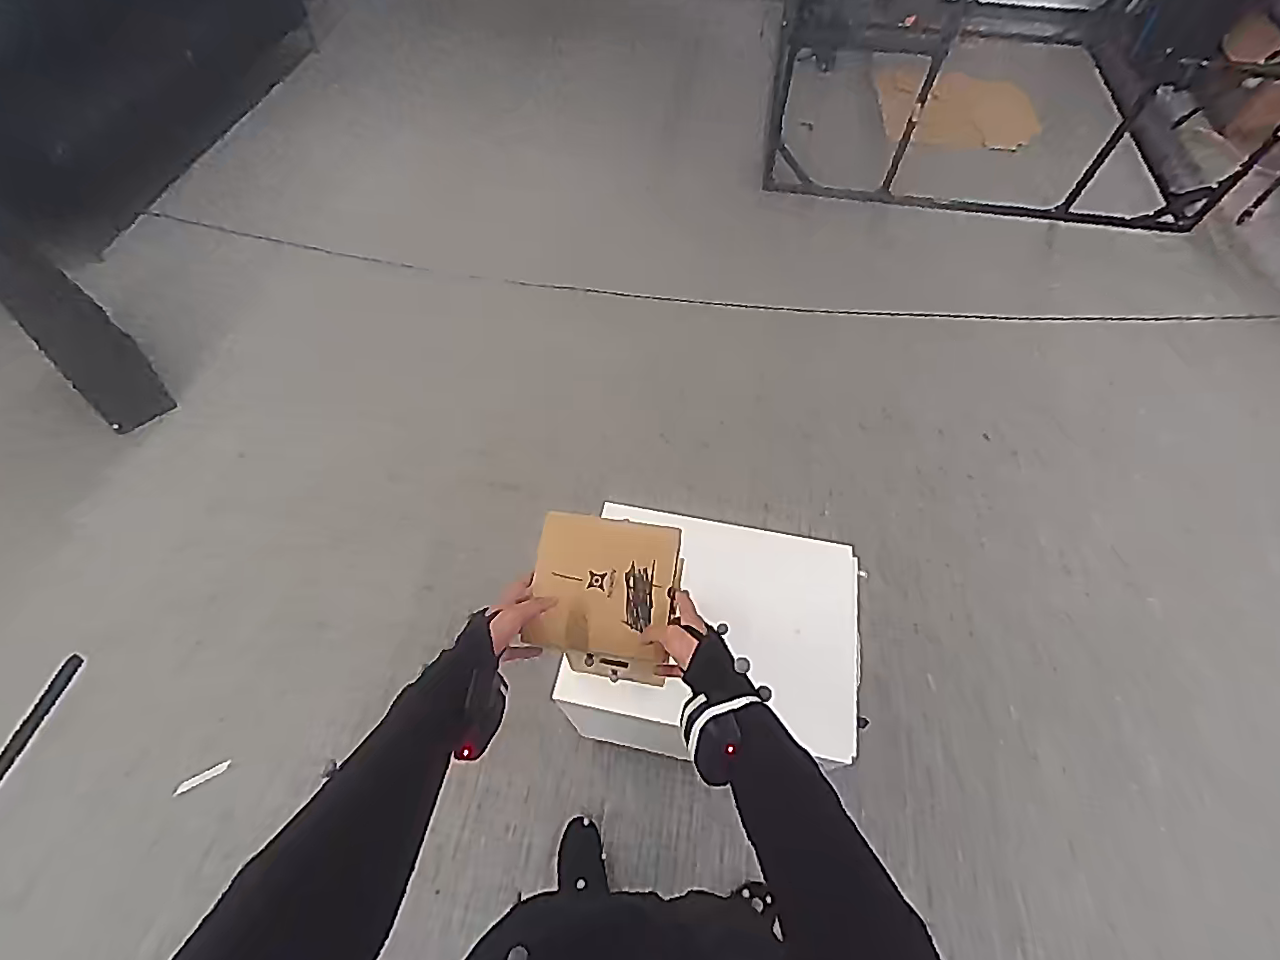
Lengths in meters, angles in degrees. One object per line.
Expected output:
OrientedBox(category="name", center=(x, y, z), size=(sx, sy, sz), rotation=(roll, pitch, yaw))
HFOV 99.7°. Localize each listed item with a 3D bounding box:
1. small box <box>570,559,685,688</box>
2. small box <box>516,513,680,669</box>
OrientedBox(category="small box", center=(-0.023, 0.231, 0.907), size=(0.168, 0.176, 0.179), rotation=(9, 59, 6))
OrientedBox(category="small box", center=(-0.046, 0.155, 0.726), size=(0.179, 0.176, 0.168), rotation=(7, 70, 5))
